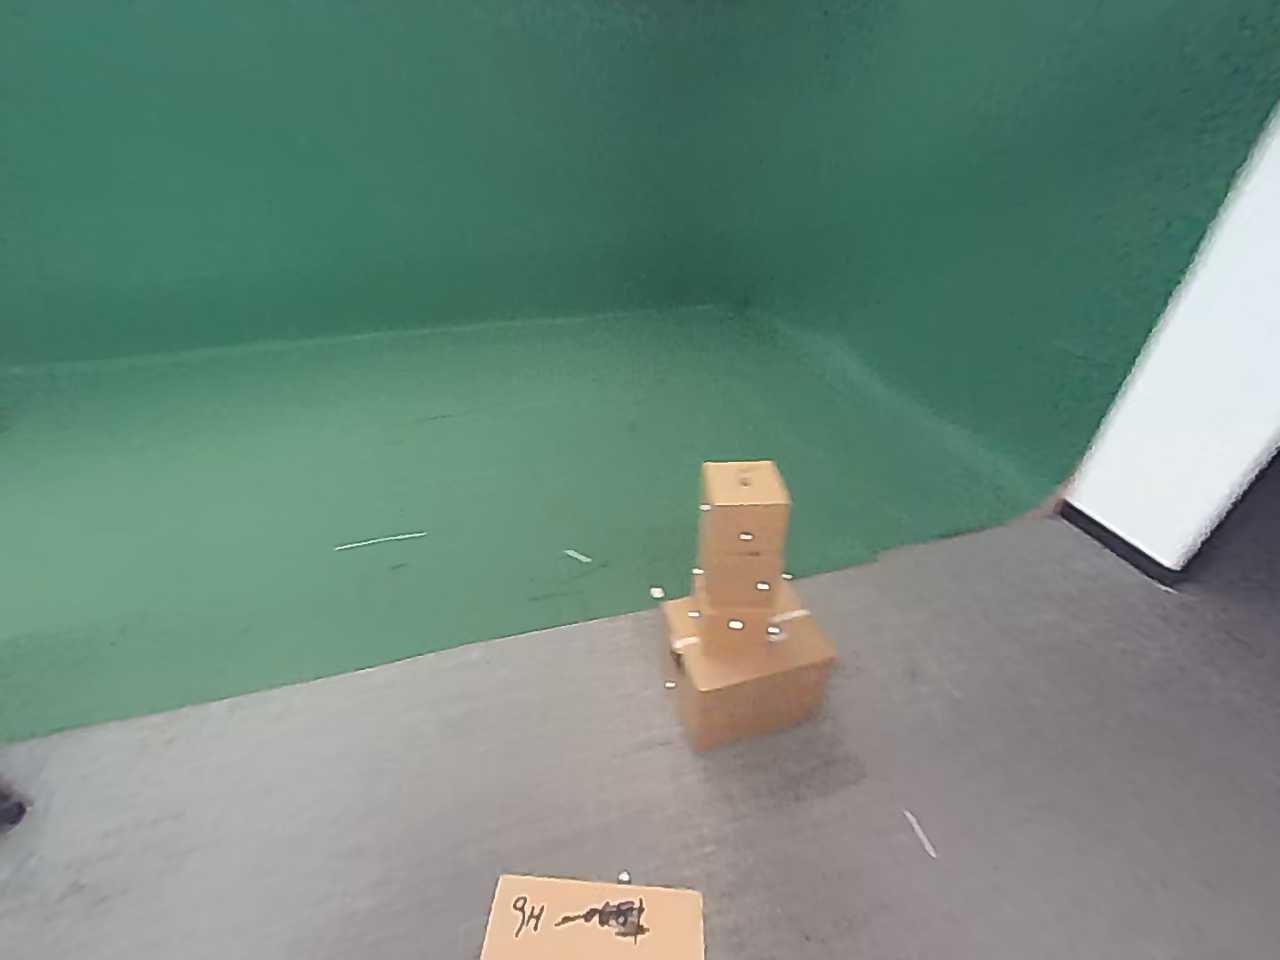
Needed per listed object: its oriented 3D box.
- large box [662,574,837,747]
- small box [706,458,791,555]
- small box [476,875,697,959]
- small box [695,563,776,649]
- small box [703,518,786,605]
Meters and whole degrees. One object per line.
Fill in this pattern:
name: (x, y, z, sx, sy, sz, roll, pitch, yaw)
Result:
large box: (0.303, 0.530, 1.613, 0.408, 0.320, 0.320, -9, 37, -13)
small box: (0.250, 0.064, 1.286, 0.168, 0.176, 0.179, -1, 35, 0)
small box: (-0.043, 0.438, 0.418, 0.168, 0.176, 0.179, 3, 39, 1)
small box: (0.251, 0.338, 1.464, 0.179, 0.176, 0.168, -3, 36, -3)
small box: (0.258, 0.202, 1.375, 0.179, 0.176, 0.168, -2, 35, 0)
